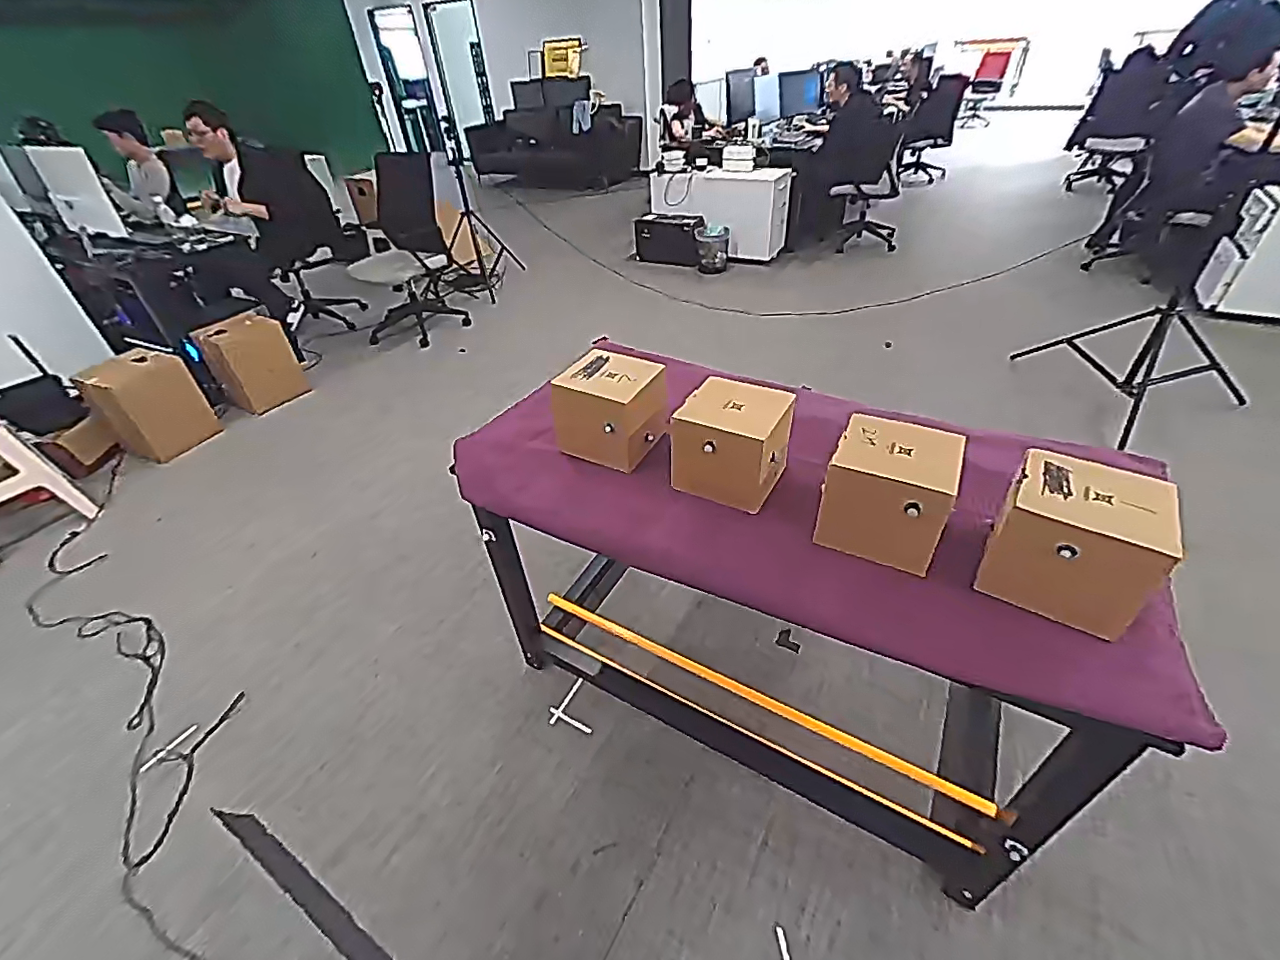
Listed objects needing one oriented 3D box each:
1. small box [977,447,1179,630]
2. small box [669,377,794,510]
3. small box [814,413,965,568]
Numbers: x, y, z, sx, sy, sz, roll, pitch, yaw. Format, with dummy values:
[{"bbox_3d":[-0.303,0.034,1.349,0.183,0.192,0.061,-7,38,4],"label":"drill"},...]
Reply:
[{"bbox_3d":[0.611,0.081,0.771,0.179,0.176,0.168,22,45,29],"label":"small box"},{"bbox_3d":[0.171,-0.067,1.012,0.179,0.176,0.168,17,43,26],"label":"small box"},{"bbox_3d":[0.398,0.017,0.876,0.179,0.176,0.168,16,41,25],"label":"small box"}]
